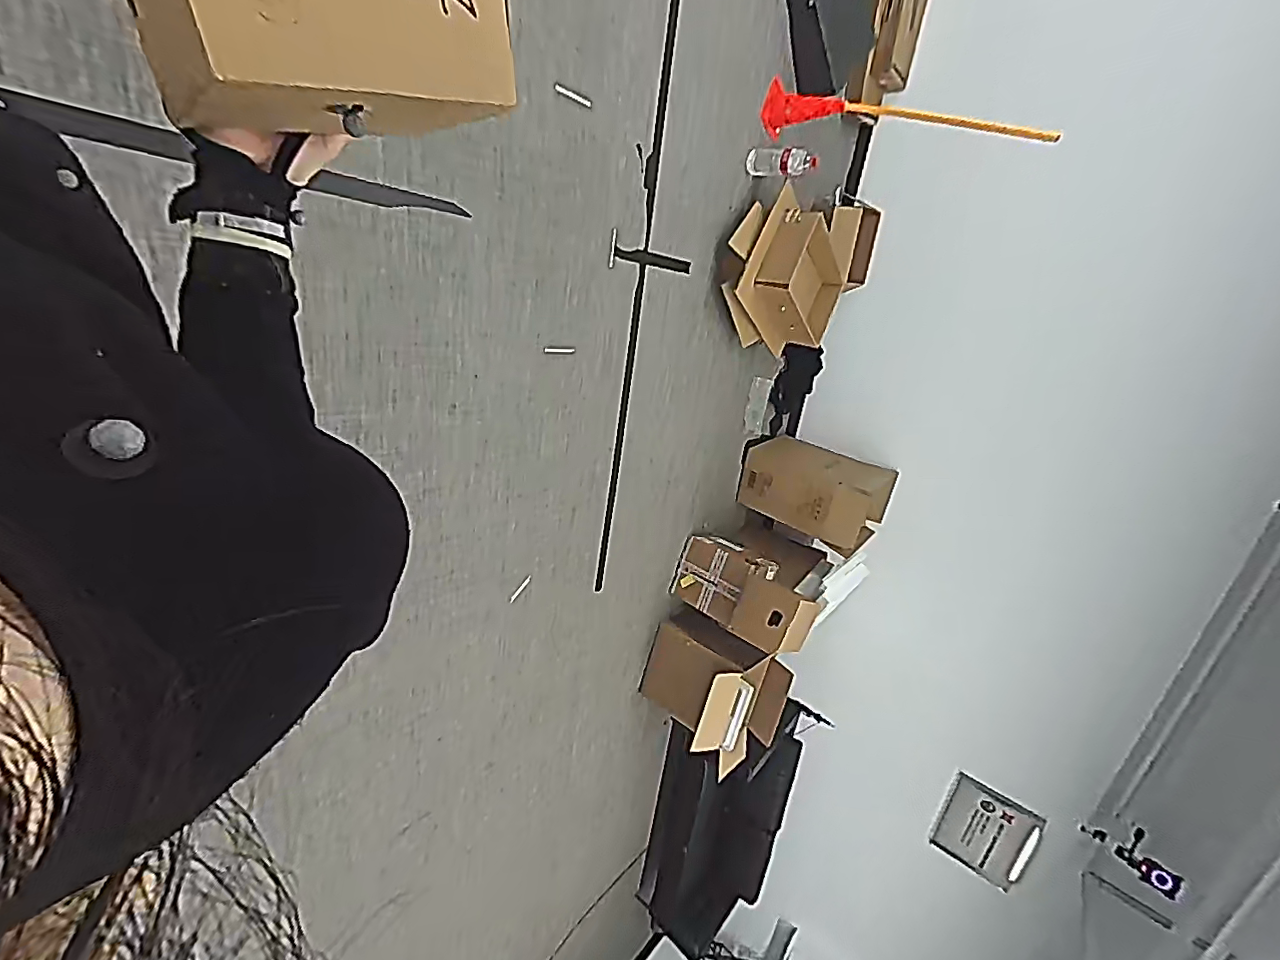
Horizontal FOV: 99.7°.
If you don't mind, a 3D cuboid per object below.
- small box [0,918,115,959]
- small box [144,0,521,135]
[{"bbox_3d":[-0.989,0.888,0.898,0.168,0.176,0.179,-9,116,-52],"label":"small box"},{"bbox_3d":[-0.201,-0.321,0.335,0.179,0.176,0.168,-25,125,-38],"label":"small box"}]
